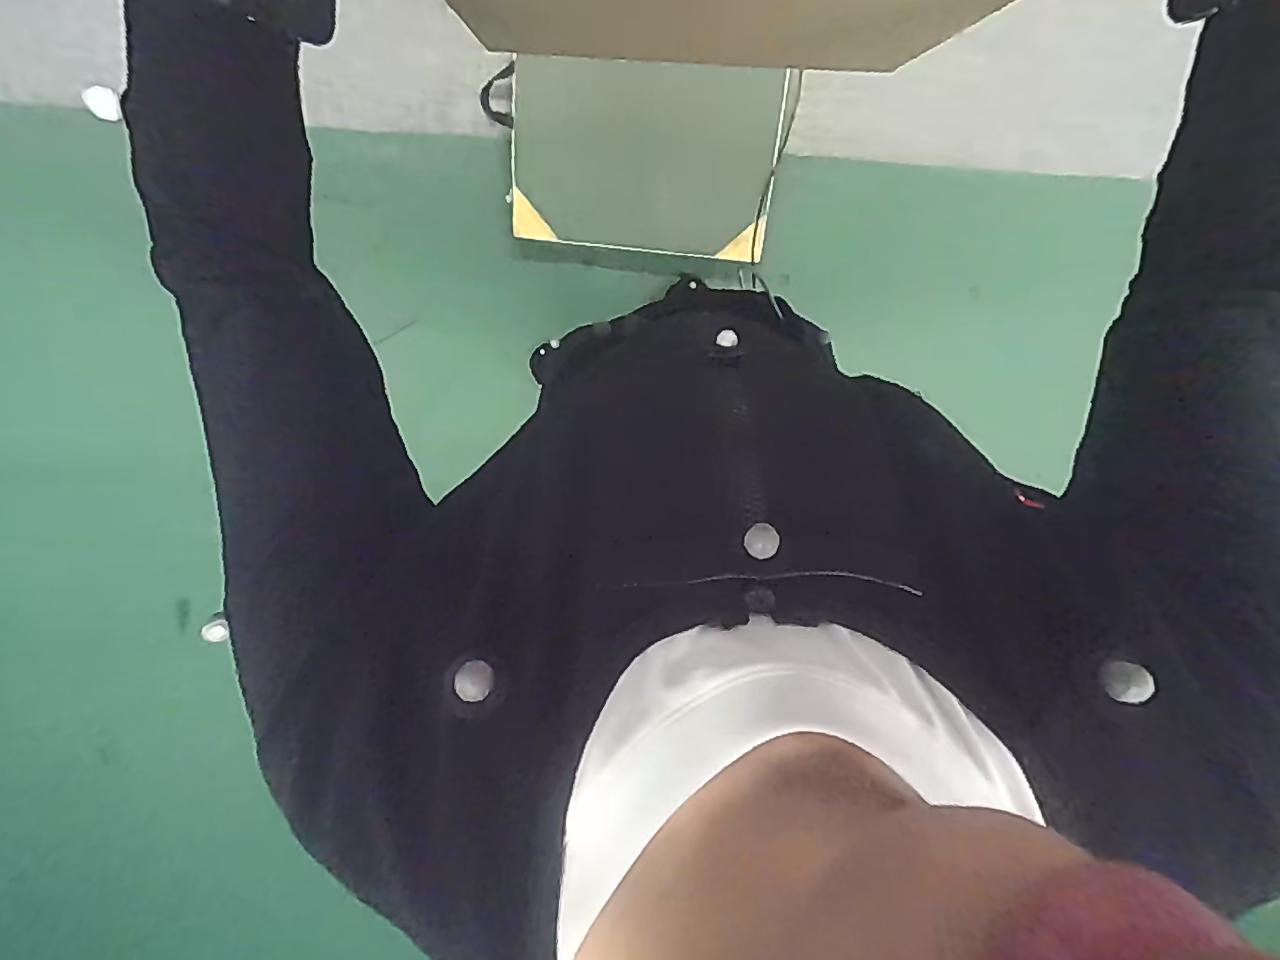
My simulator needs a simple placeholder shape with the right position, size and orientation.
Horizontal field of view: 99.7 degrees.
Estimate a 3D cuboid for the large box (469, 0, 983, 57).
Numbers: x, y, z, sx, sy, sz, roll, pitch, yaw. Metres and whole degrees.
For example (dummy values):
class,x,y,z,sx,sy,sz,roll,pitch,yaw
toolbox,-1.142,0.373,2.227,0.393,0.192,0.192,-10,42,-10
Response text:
class,x,y,z,sx,sy,sz,roll,pitch,yaw
large box,0.064,-0.492,0.330,0.408,0.320,0.320,1,116,-2
